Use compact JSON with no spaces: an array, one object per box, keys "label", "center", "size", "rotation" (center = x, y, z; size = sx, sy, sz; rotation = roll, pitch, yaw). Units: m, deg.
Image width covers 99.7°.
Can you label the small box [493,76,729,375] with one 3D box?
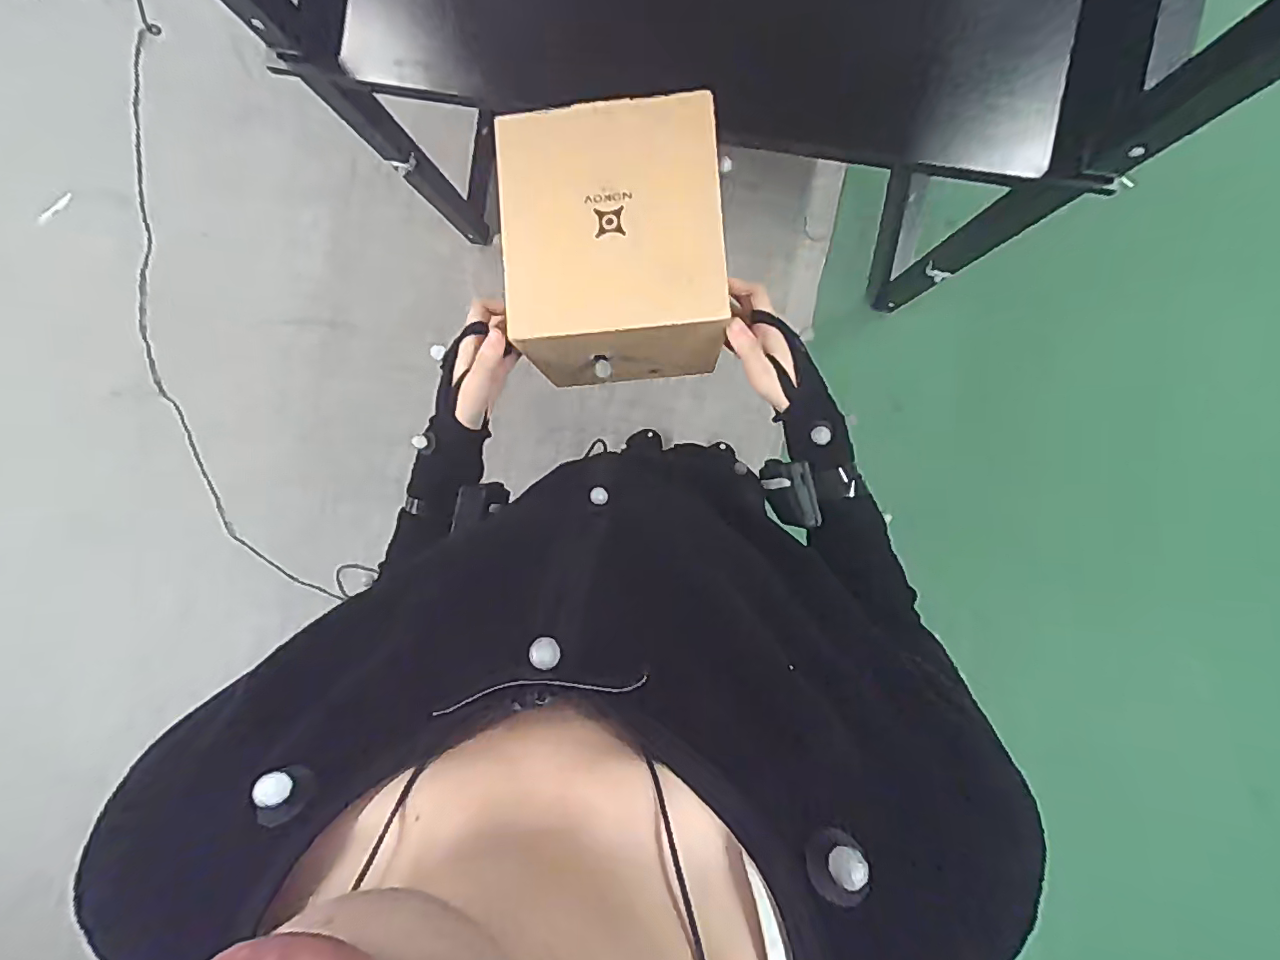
[{"label":"small box","center":[-0.016,-0.195,0.469],"size":[0.168,0.176,0.179],"rotation":[-5,87,3]}]
